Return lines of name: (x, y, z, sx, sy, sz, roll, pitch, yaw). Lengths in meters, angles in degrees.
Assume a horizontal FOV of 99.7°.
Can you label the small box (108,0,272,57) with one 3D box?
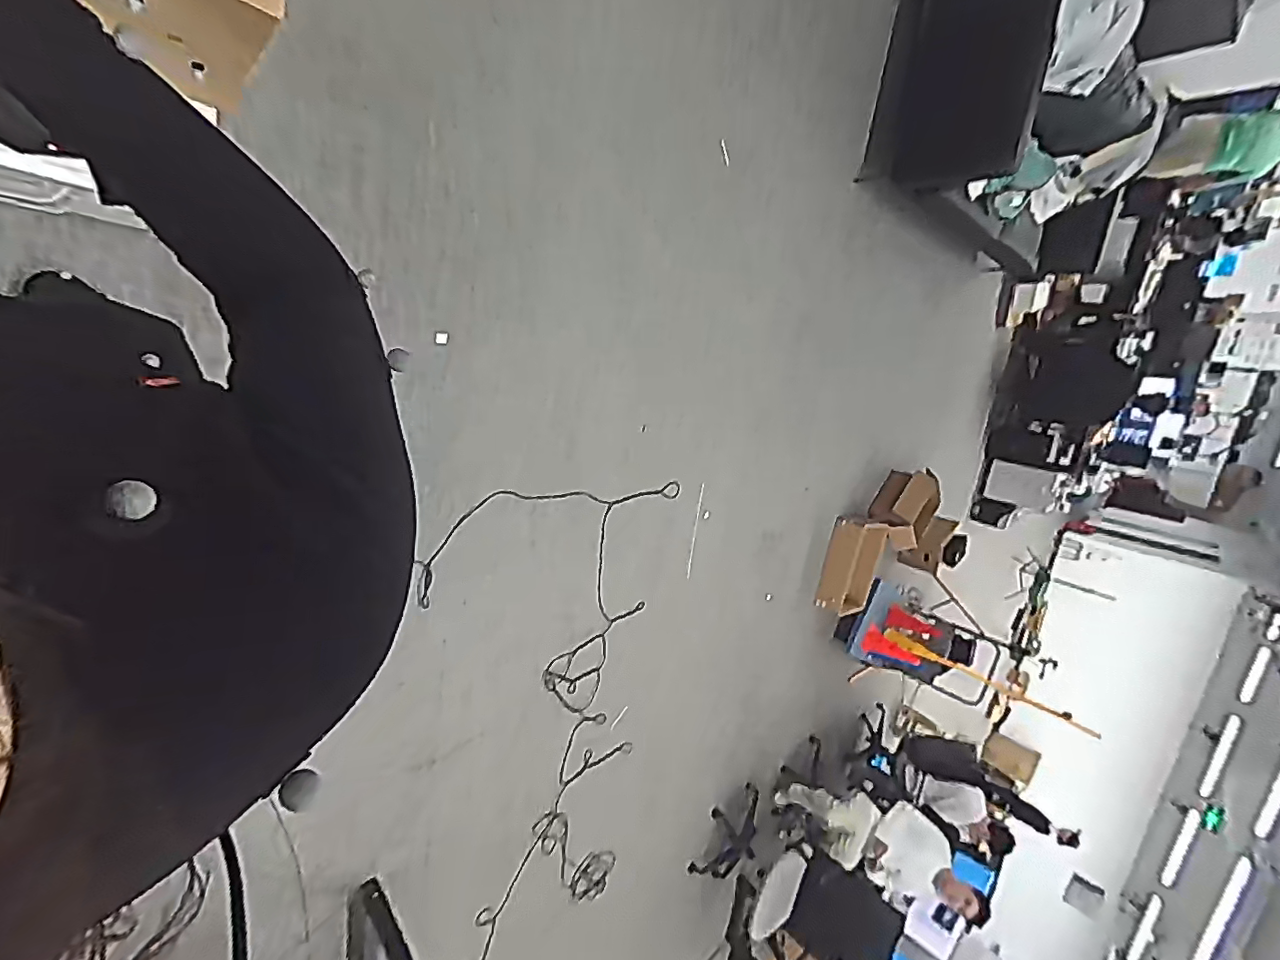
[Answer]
small box: (-0.390, -0.478, 0.418, 0.168, 0.176, 0.179, 1, 105, -45)
